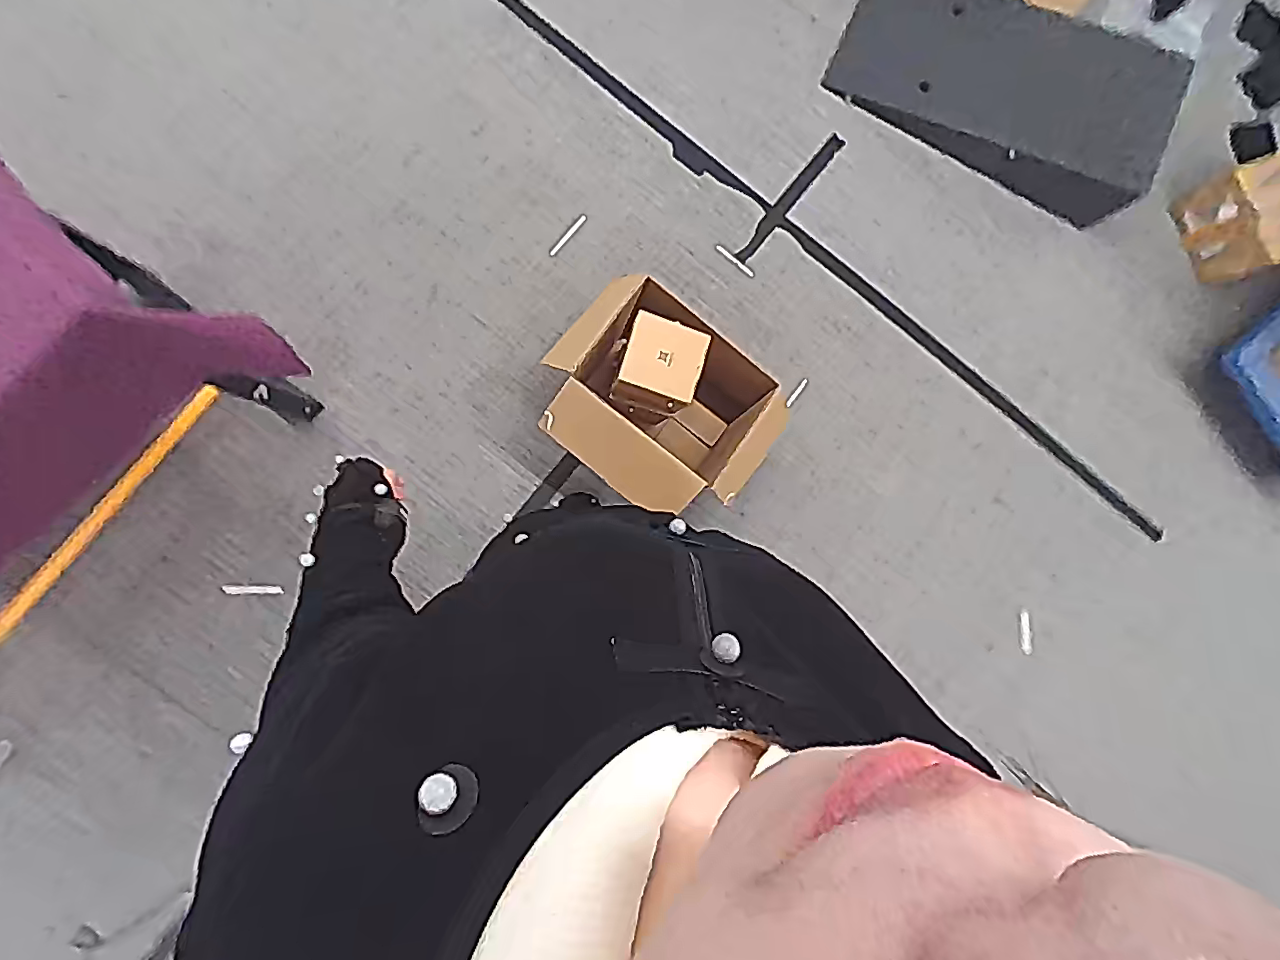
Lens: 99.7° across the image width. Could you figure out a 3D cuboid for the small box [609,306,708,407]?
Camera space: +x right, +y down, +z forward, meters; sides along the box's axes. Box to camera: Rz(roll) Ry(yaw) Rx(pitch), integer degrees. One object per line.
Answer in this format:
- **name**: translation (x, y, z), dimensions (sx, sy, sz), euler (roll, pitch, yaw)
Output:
- **small box**: translation (0.036, -0.281, 1.280), dimensions (0.179, 0.176, 0.168), euler (18, 87, -10)
